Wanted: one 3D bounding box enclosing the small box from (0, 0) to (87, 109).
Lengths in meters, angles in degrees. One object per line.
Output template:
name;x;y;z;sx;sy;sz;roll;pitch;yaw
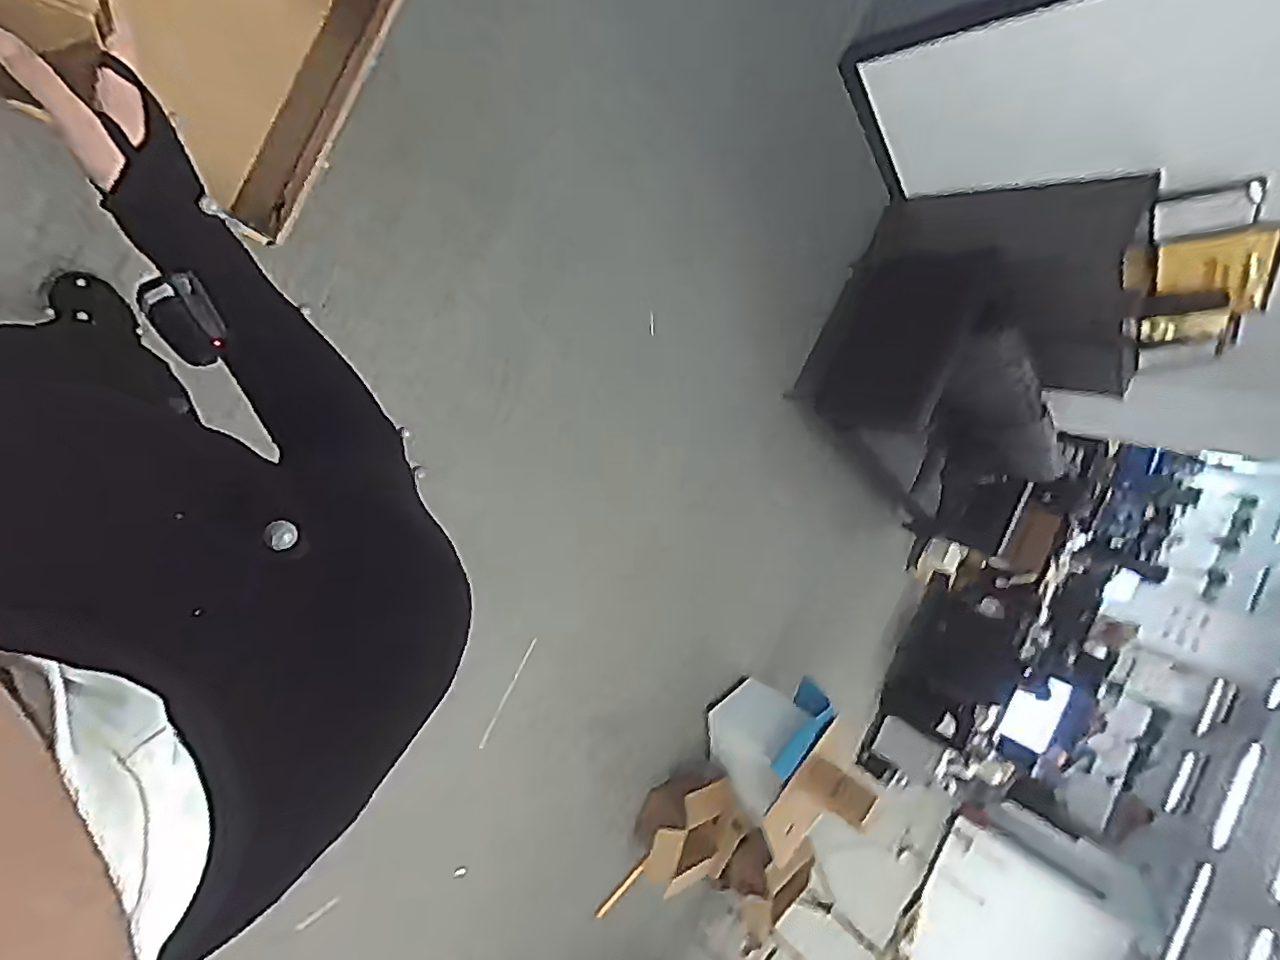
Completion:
small box;-0.508;-0.412;0.379;0.168;0.176;0.179;-3;91;-47
